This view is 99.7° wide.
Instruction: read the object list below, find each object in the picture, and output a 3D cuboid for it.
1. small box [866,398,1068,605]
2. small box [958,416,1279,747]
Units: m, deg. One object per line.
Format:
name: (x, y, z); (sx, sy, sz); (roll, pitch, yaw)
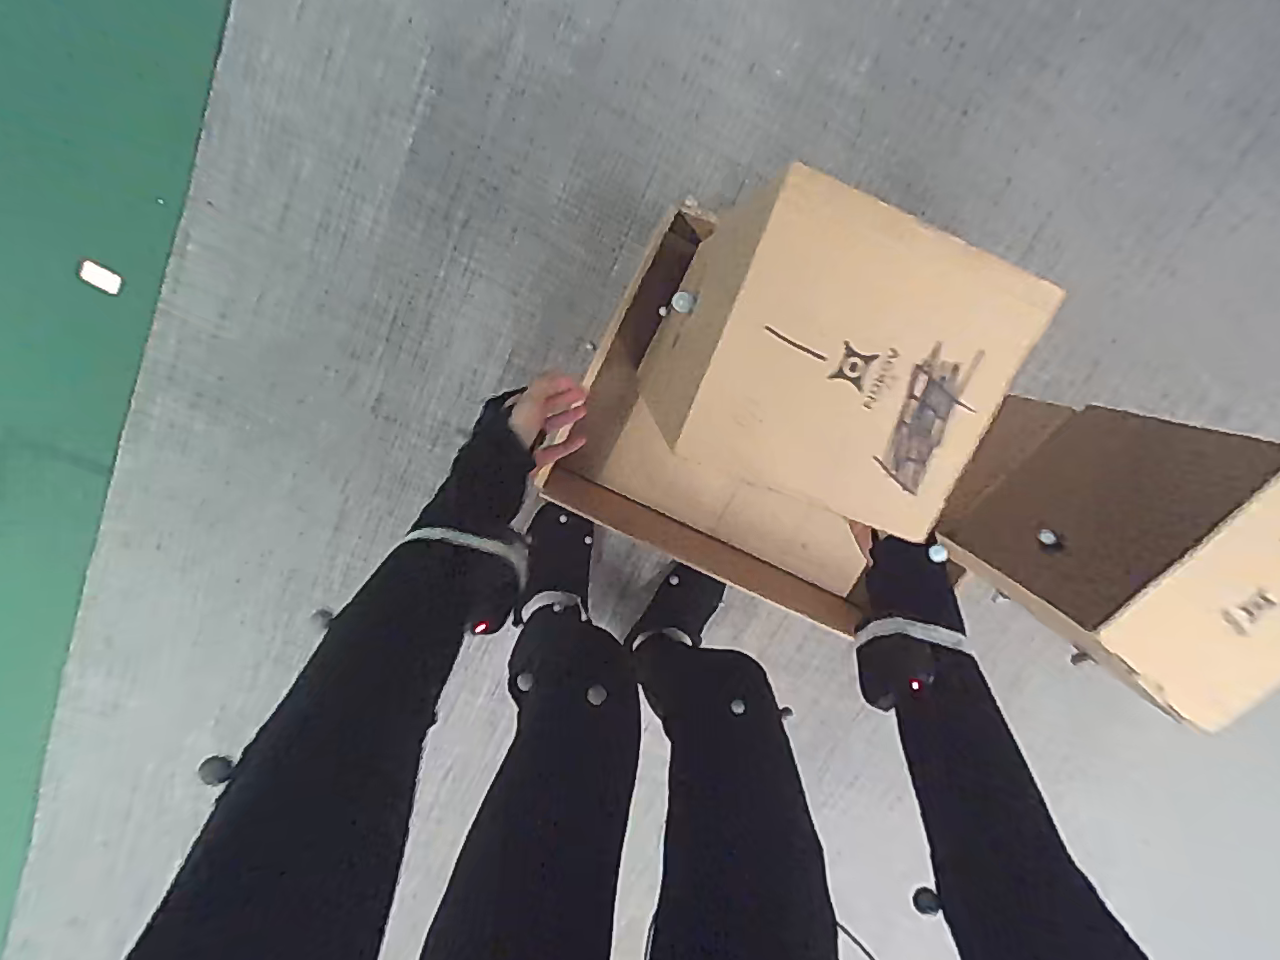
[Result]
small box: (0.397, 0.023, 0.612); (0.179, 0.176, 0.168); (37, 102, -14)
small box: (0.411, 0.071, 0.457); (0.168, 0.176, 0.179); (39, 101, -16)
